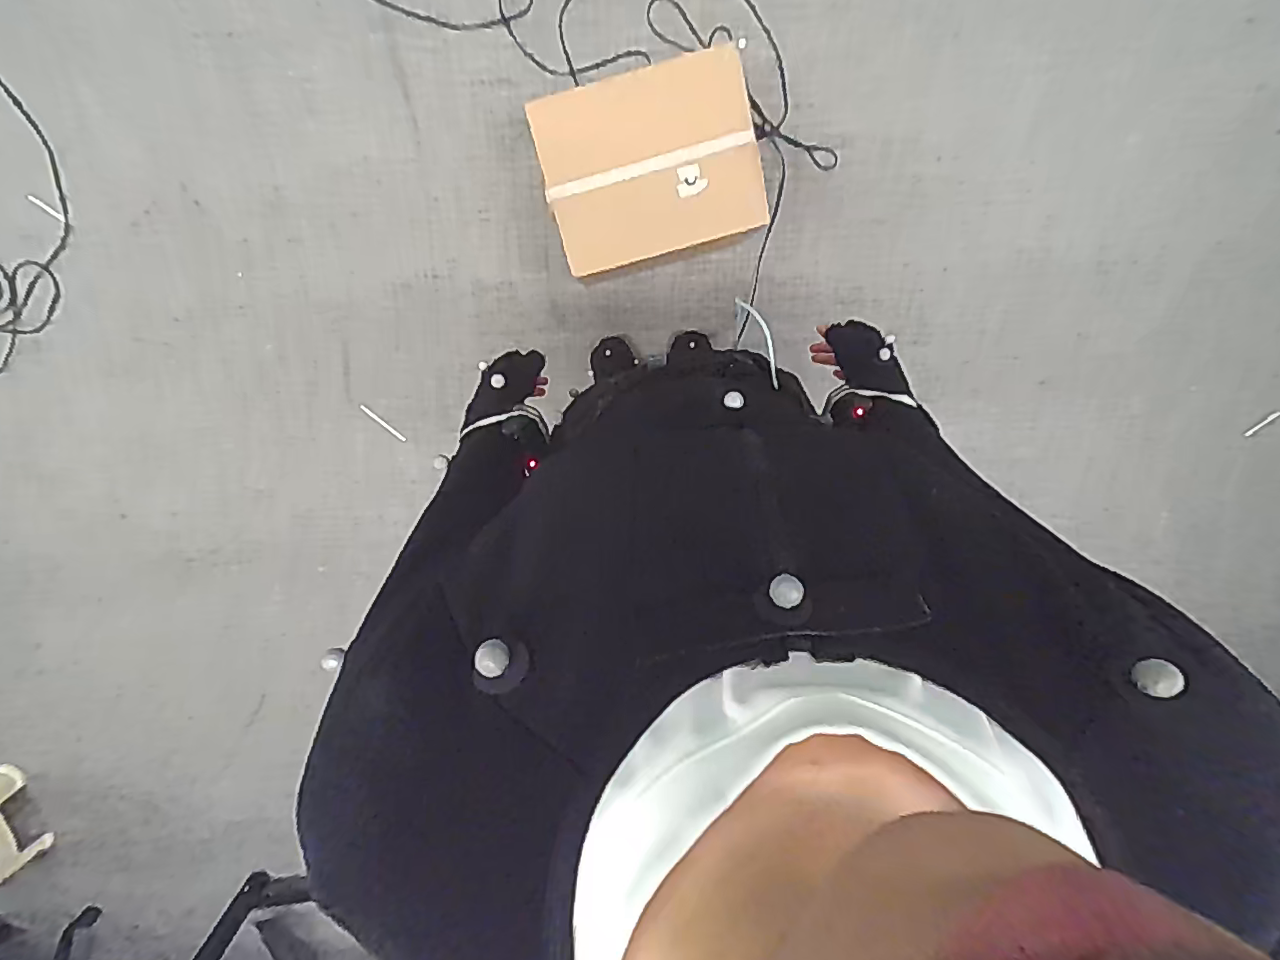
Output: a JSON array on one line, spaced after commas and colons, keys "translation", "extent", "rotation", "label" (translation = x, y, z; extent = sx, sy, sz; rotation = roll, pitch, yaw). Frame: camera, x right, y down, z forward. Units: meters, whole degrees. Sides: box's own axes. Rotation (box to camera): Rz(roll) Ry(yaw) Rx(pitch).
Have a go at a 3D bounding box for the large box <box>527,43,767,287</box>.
[{"translation": [0.013, -0.635, 1.166], "extent": [0.408, 0.320, 0.320], "rotation": [-15, 107, 2], "label": "large box"}]
